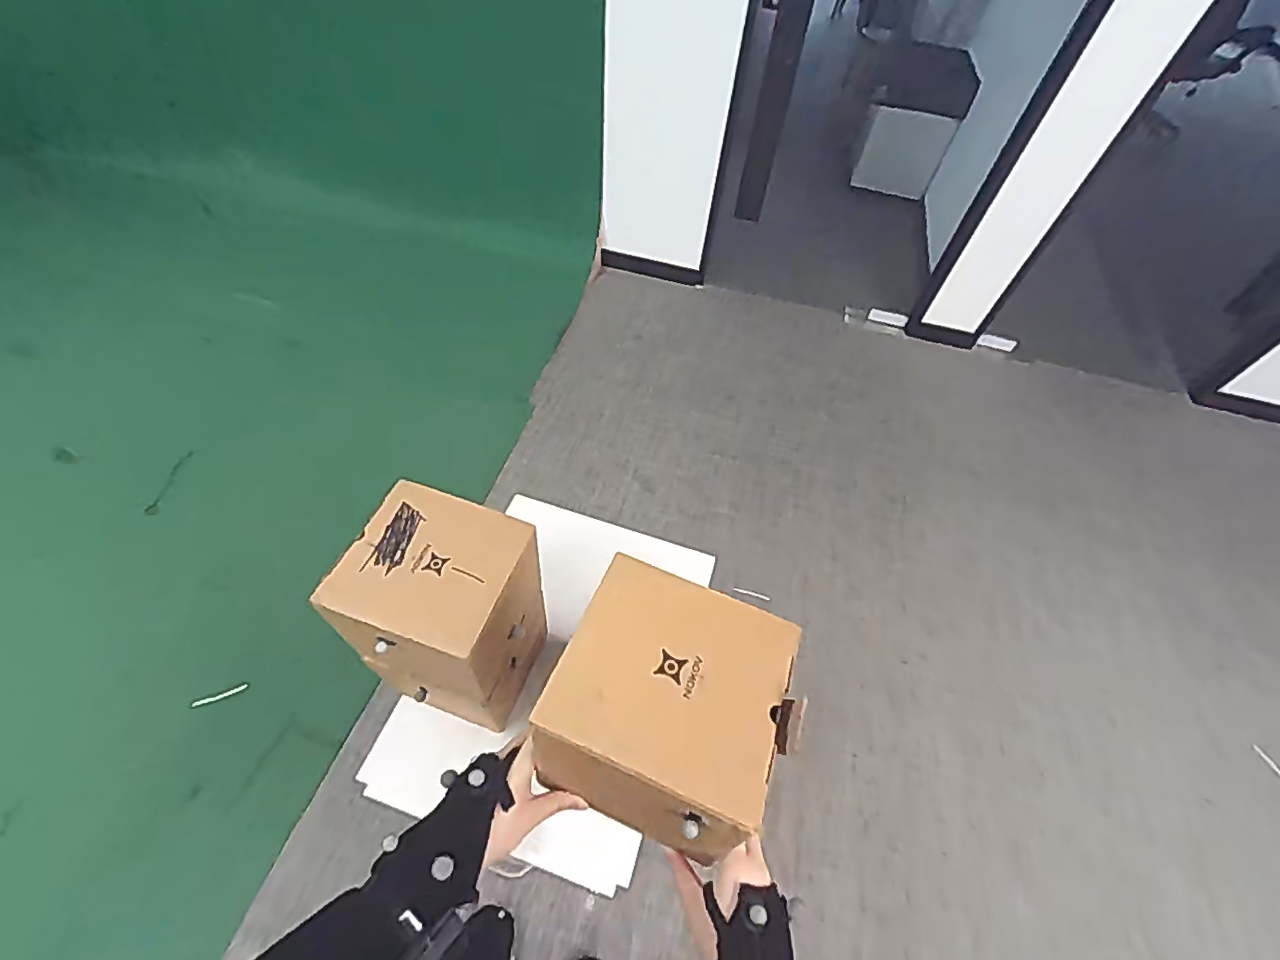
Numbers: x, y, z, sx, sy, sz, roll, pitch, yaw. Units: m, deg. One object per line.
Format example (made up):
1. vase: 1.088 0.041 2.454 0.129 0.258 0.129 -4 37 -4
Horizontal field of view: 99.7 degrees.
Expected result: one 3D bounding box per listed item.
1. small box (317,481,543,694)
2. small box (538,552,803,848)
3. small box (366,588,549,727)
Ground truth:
1. small box: -0.228 0.133 0.641 0.179 0.176 0.168 18 55 5
2. small box: 0.023 0.201 0.488 0.179 0.176 0.168 21 48 9
3. small box: -0.243 0.232 0.772 0.179 0.176 0.168 18 55 7
